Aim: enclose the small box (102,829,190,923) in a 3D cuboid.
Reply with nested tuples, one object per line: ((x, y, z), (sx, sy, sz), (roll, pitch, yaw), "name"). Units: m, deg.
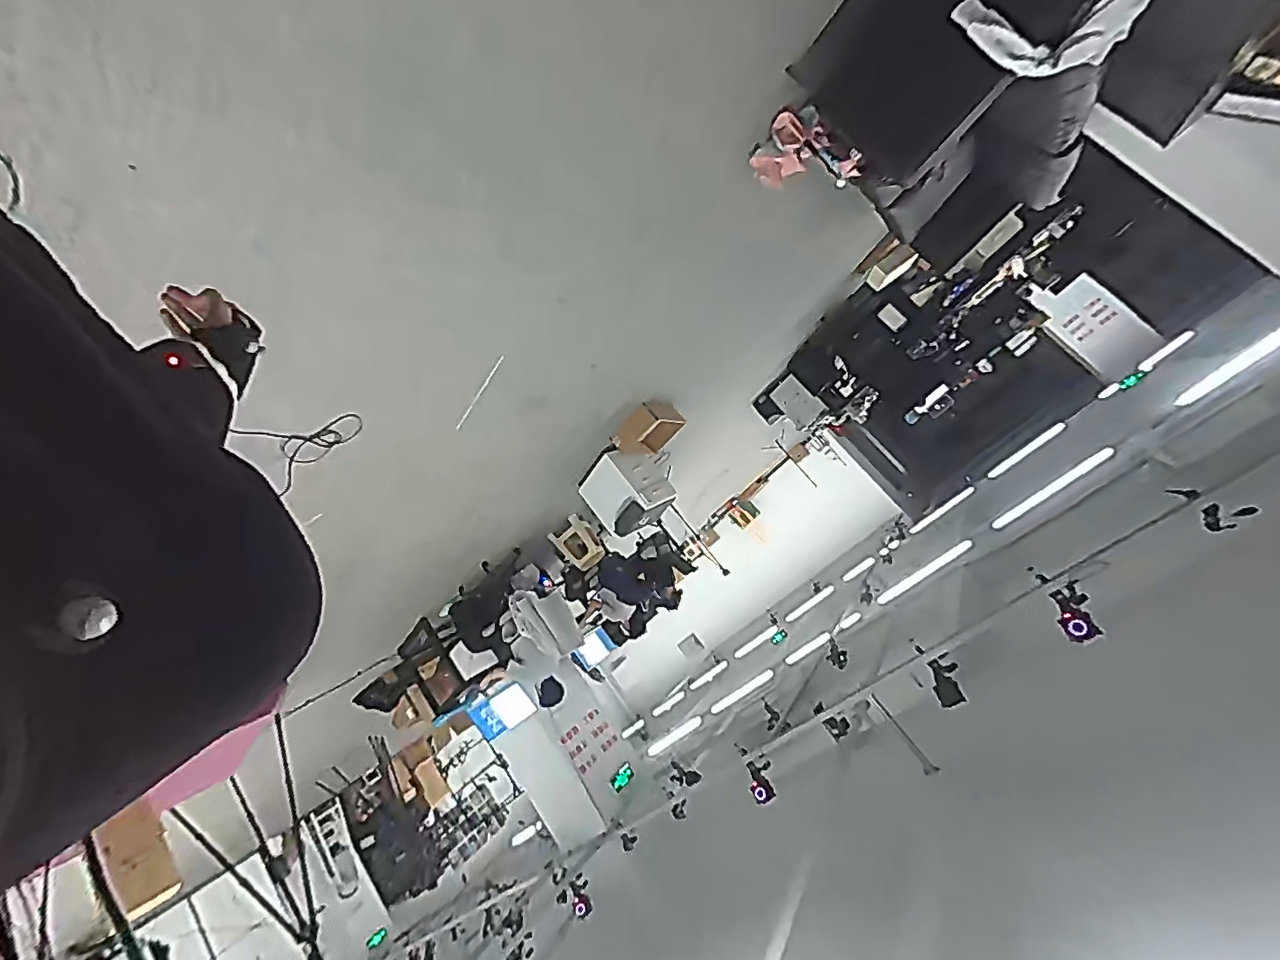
((-1.607, 1.278, 1.754), (0.179, 0.176, 0.168), (-47, 164, 30), "small box")

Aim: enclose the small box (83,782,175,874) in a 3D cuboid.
((-1.700, 1.149, 1.798), (0.168, 0.176, 0.179), (-47, 163, 30), "small box")
